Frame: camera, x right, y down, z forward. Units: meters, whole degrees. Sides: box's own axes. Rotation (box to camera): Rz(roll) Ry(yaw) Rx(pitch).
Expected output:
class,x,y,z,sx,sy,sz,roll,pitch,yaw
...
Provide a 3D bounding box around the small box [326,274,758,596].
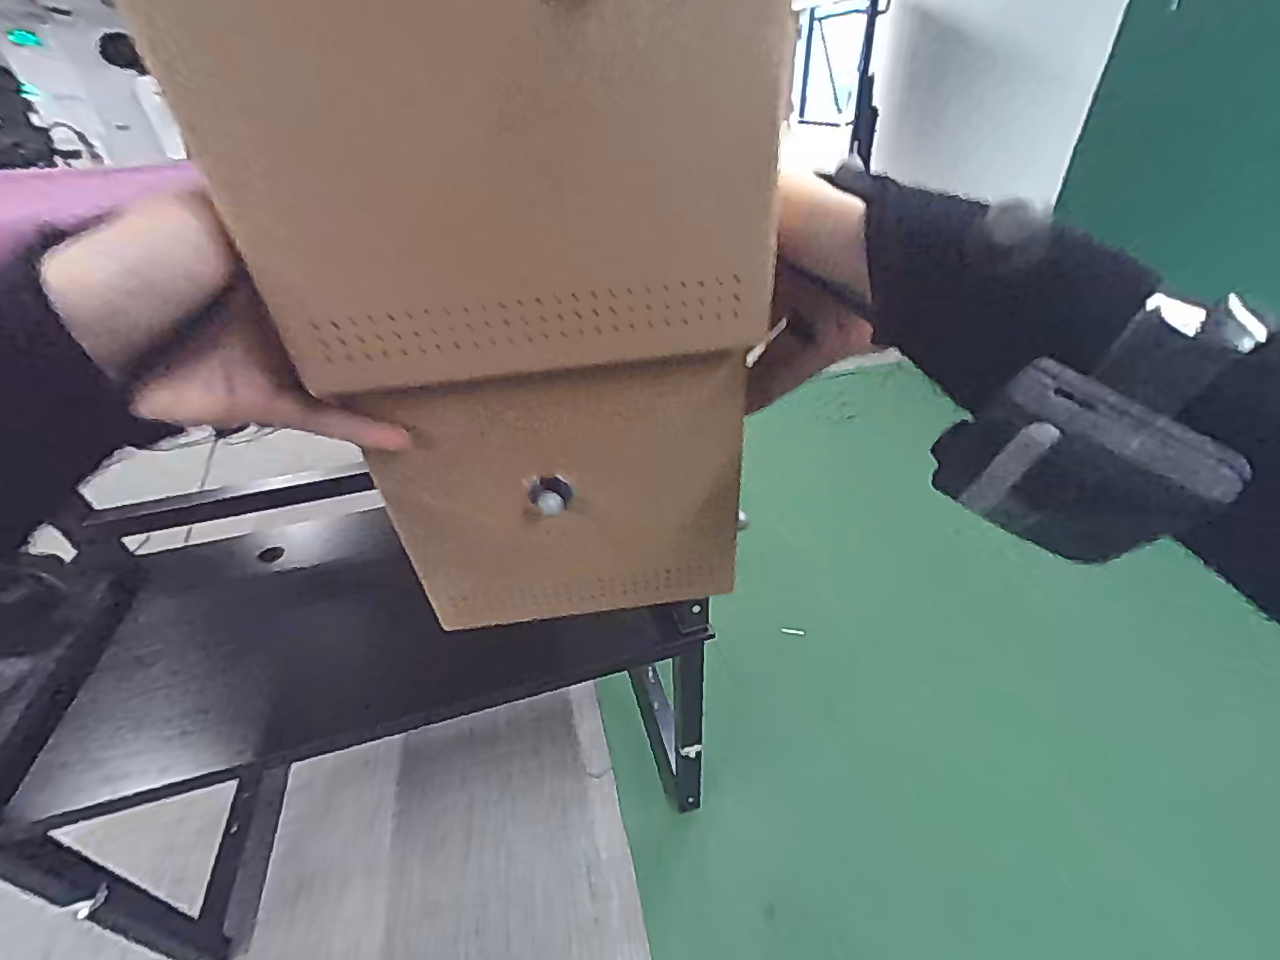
class,x,y,z,sx,sy,sz,roll,pitch,yaw
small box,-0.042,-0.051,0.326,0.179,0.176,0.168,-6,37,-3
